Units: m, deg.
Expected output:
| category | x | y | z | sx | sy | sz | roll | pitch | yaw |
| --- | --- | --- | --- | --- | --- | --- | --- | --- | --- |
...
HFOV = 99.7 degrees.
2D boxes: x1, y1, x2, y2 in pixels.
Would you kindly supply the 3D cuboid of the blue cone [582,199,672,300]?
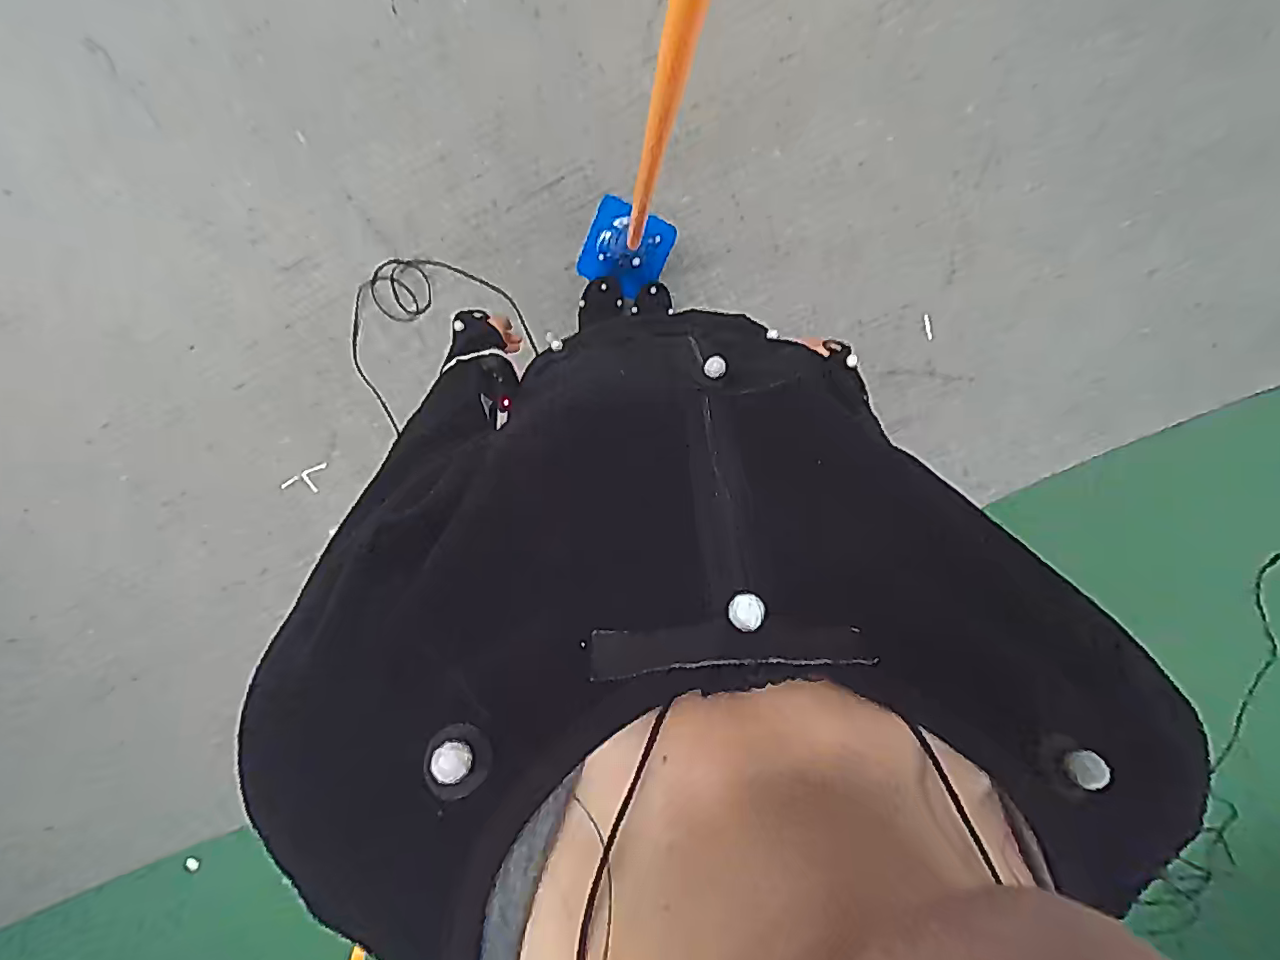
| category | x | y | z | sx | sy | sz | roll | pitch | yaw |
| --- | --- | --- | --- | --- | --- | --- | --- | --- | --- |
| blue cone | -0.021 | -0.498 | 1.151 | 0.192 | 0.380 | 0.193 | 21 | 107 | -12 |
